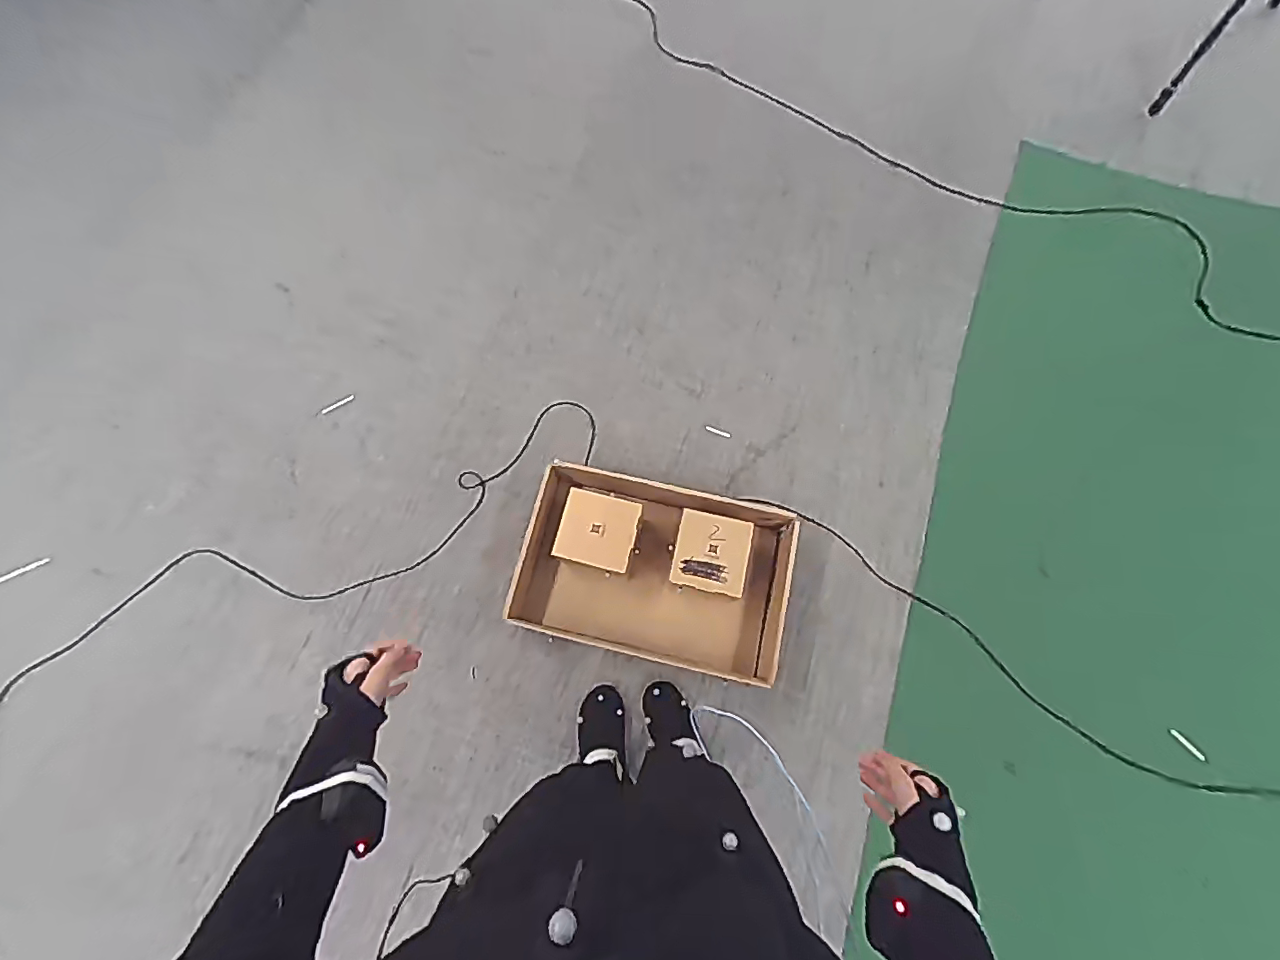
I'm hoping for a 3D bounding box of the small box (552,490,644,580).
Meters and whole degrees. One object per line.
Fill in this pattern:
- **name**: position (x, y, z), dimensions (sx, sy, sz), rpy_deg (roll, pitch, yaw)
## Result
- **small box**: position (-0.095, 0.140, 1.307), dimensions (0.179, 0.176, 0.168), rpy_deg (14, 75, 3)
